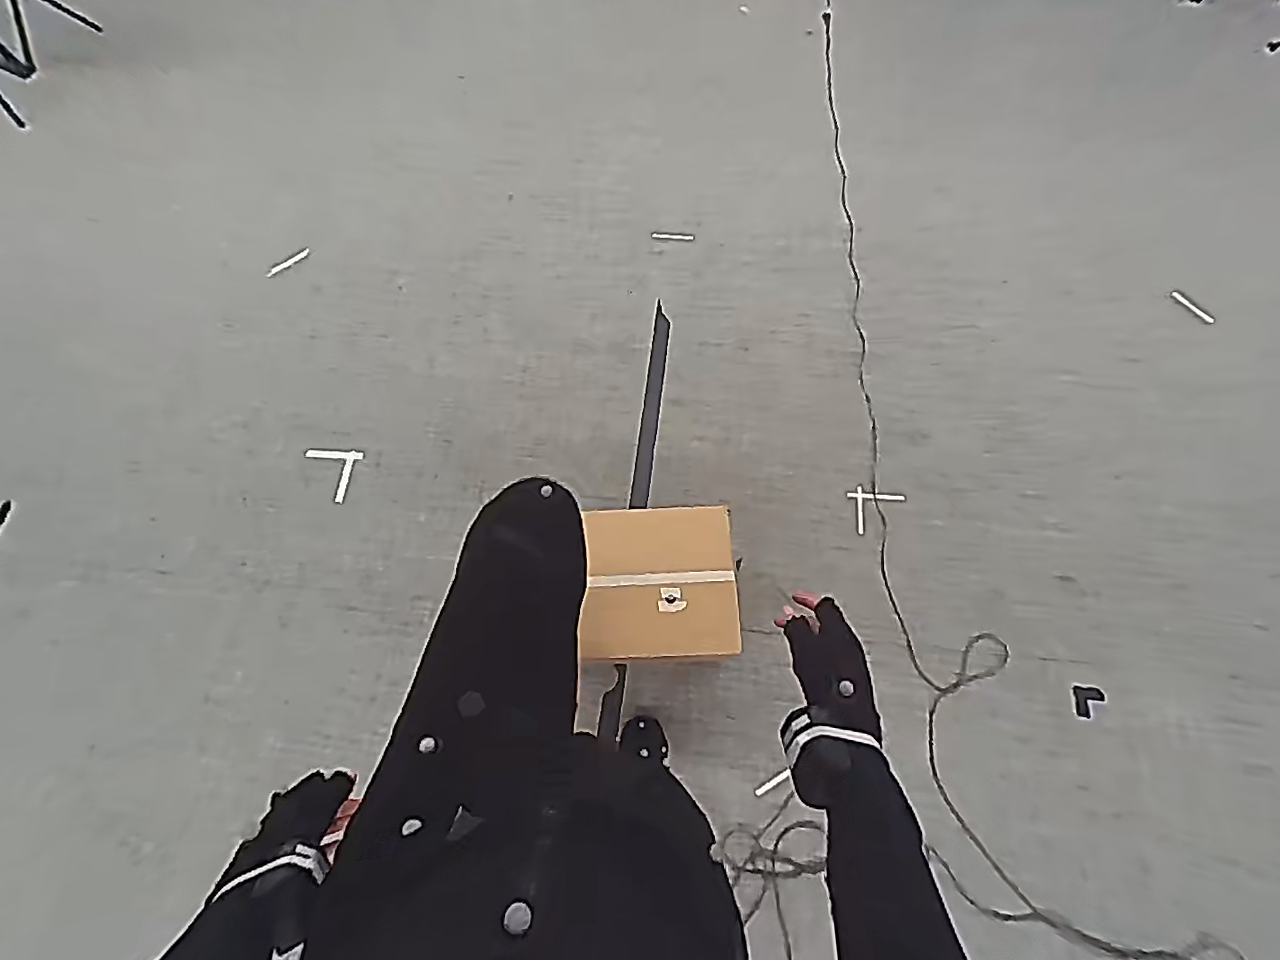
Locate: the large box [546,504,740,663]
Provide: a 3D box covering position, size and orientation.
[{"bbox_3d":[0.003,0.259,1.286,0.408,0.320,0.320,-2,69,1],"label":"large box"}]
